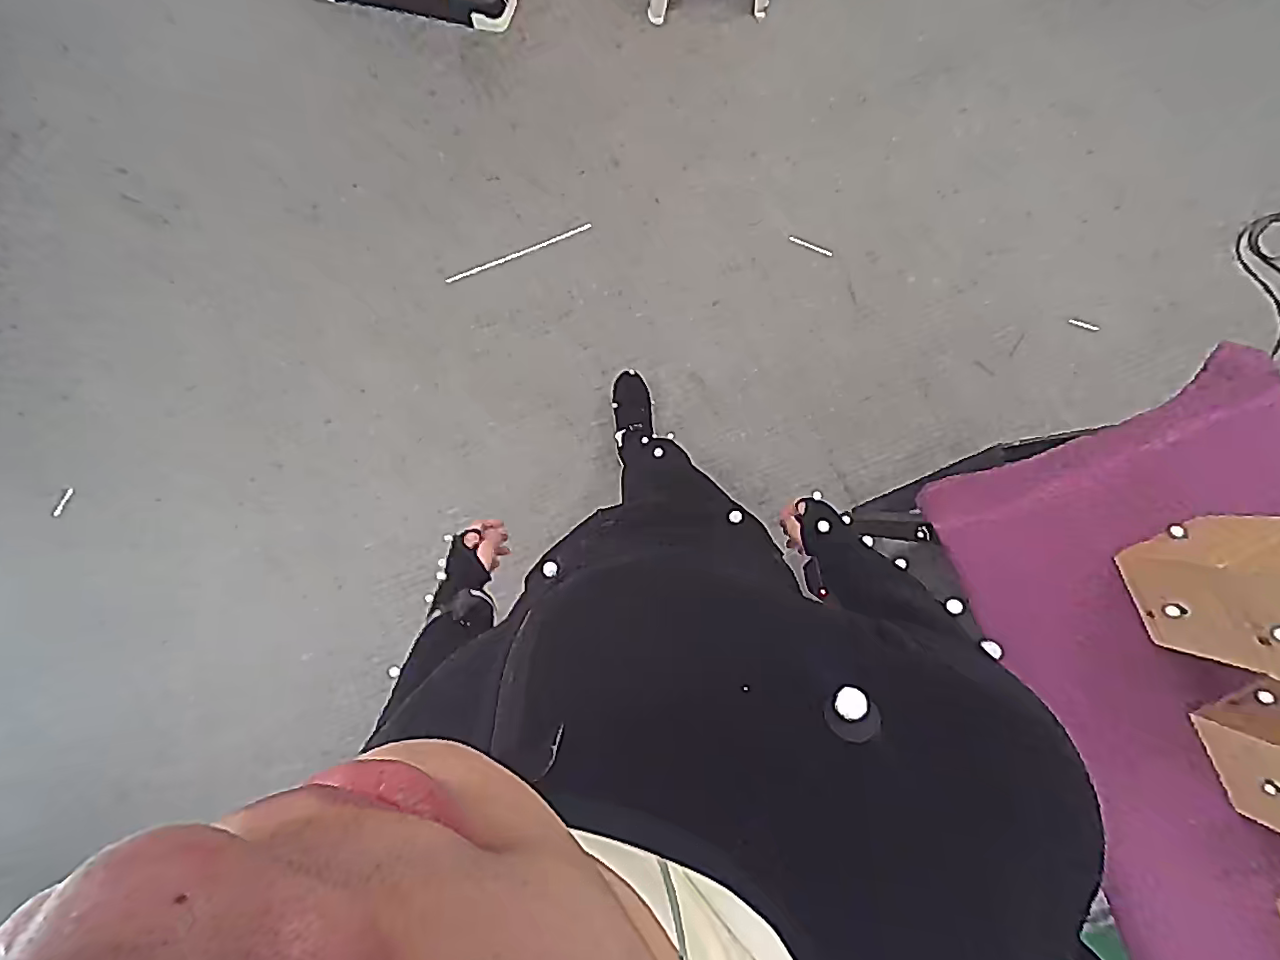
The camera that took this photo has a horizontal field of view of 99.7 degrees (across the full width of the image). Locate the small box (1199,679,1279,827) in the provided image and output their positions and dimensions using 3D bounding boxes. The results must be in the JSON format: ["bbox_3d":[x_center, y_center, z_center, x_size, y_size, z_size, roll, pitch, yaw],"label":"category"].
[{"bbox_3d":[1.028,0.431,0.814,0.168,0.176,0.179,-24,86,-2],"label":"small box"}]

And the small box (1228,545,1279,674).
[{"bbox_3d":[0.914,0.157,0.663,0.179,0.176,0.168,-24,87,-1],"label":"small box"}]

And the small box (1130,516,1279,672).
[{"bbox_3d":[0.915,0.163,0.828,0.179,0.176,0.168,-24,88,-1],"label":"small box"}]
